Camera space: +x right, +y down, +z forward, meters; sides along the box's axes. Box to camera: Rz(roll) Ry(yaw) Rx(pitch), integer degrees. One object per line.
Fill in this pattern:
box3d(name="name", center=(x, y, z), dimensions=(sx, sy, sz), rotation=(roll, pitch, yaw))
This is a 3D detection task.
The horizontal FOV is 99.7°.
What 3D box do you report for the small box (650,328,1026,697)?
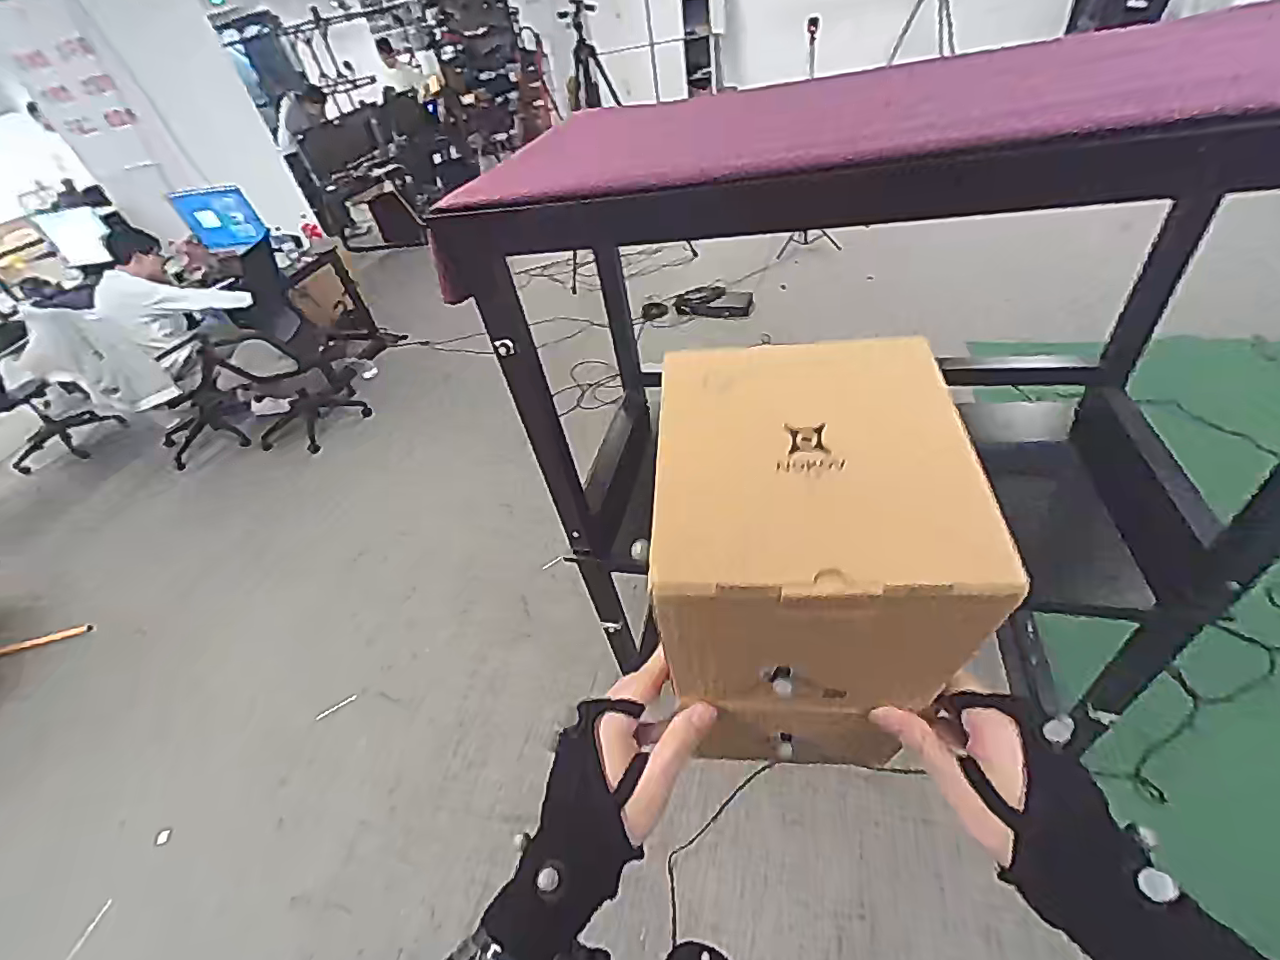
box3d(name="small box", center=(0.099, 0.025, 0.355), dimensions=(0.168, 0.176, 0.179), rotation=(-2, 52, 8))
